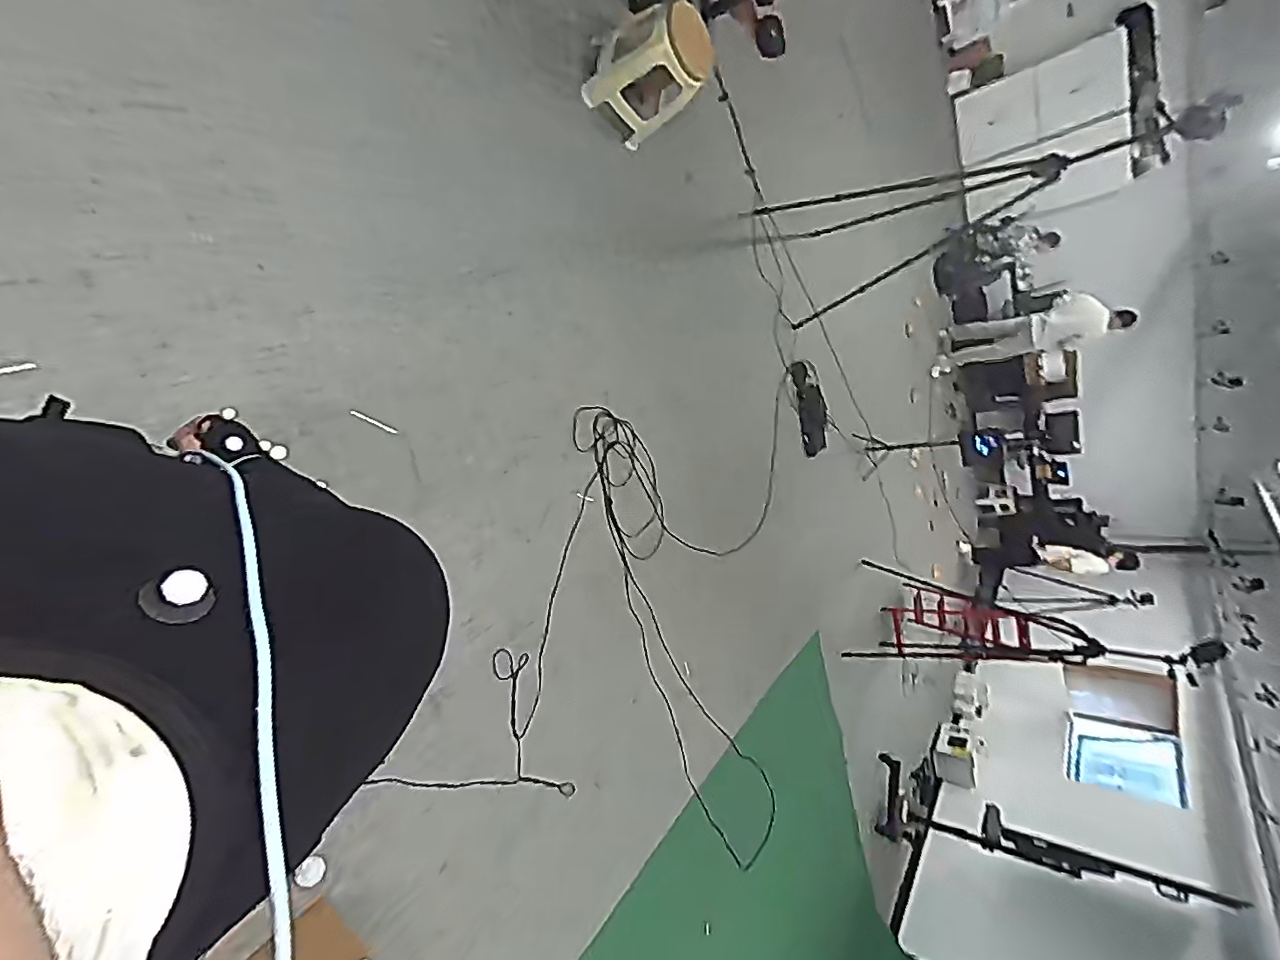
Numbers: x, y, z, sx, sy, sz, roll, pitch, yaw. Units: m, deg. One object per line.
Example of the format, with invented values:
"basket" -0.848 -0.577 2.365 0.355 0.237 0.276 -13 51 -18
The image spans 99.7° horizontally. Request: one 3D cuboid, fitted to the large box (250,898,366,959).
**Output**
"large box" -0.844 1.345 1.281 0.408 0.320 0.320 -28 107 -44
